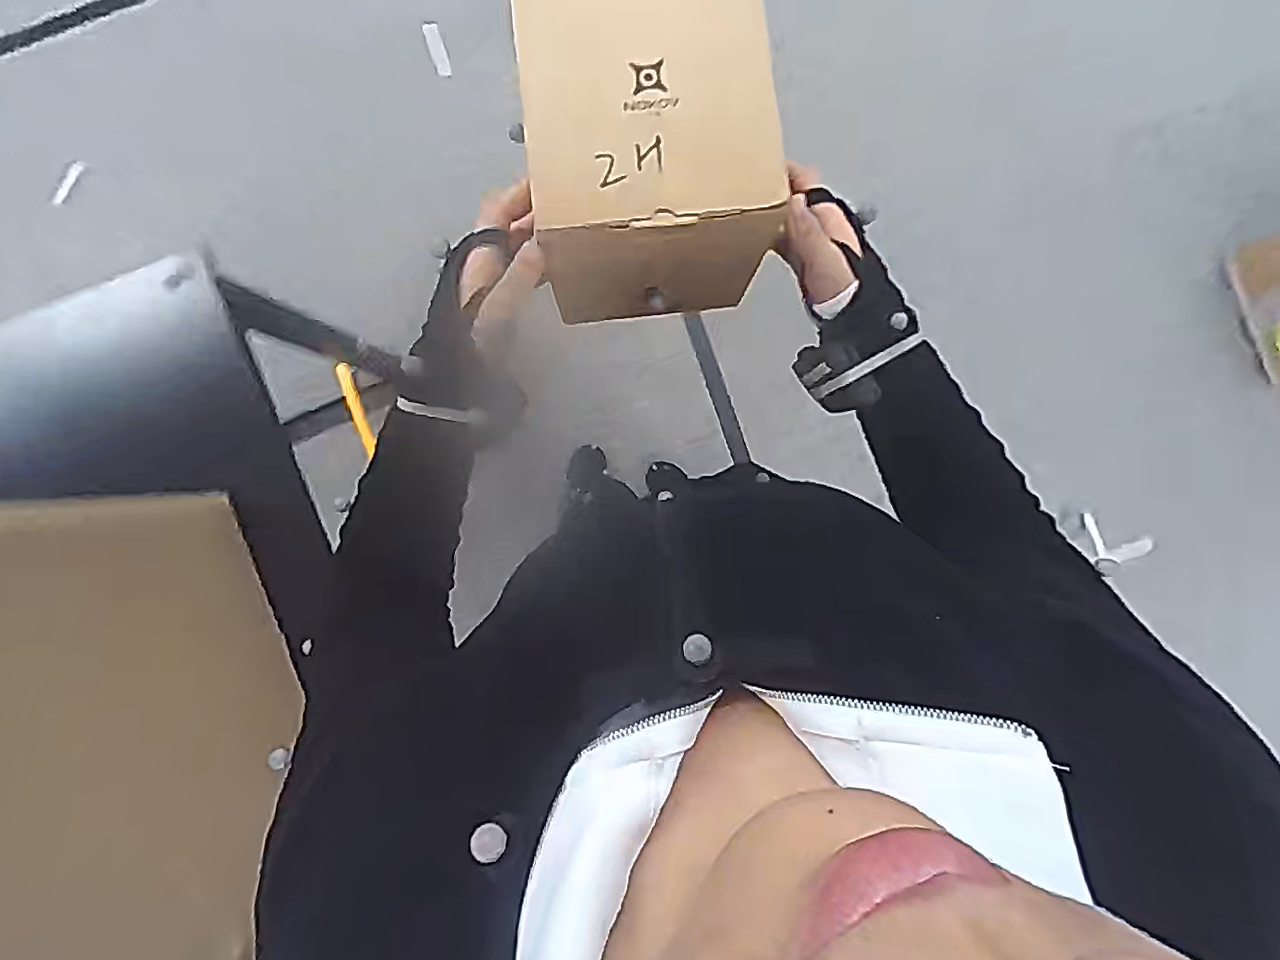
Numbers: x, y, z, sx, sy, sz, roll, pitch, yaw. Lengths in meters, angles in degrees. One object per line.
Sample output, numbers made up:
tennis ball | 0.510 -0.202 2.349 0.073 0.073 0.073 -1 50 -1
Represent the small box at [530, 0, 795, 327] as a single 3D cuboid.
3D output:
small box | 0.012 -0.244 0.436 0.168 0.176 0.179 -6 84 0
